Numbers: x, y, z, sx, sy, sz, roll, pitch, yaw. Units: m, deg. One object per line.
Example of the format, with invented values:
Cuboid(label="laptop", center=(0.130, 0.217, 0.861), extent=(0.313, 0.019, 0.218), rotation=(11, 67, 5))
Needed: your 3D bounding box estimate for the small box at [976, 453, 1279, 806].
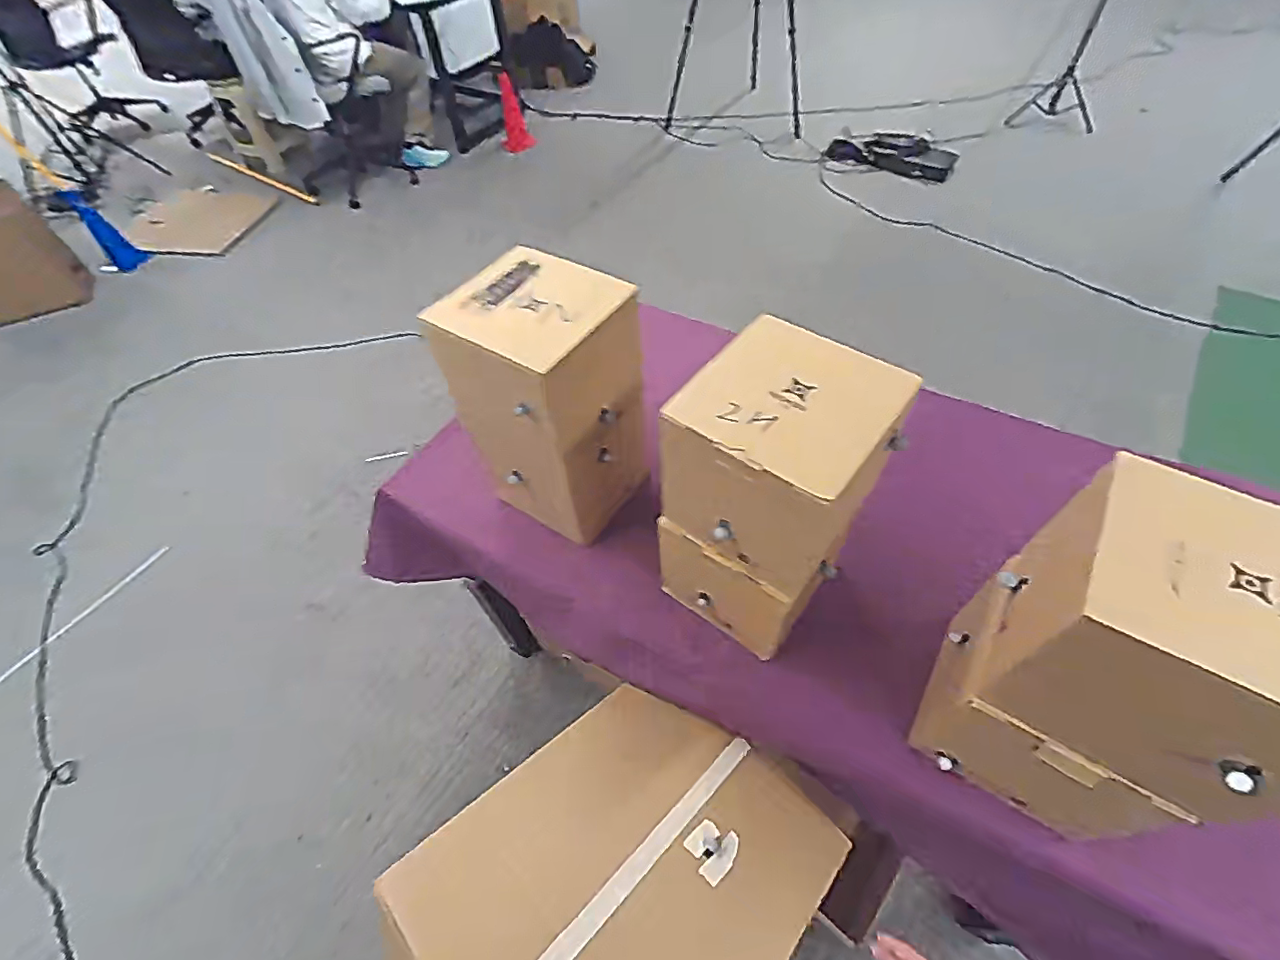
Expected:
Cuboid(label="small box", center=(0.402, 0.117, 0.412), extent=(0.179, 0.176, 0.168), rotation=(28, 59, 23))

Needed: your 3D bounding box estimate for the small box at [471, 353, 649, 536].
Cuboid(label="small box", center=(-0.103, -0.047, 0.777), extent=(0.179, 0.176, 0.168), rotation=(27, 61, 23))

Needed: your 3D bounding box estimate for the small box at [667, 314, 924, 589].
Cuboid(label="small box", center=(0.142, -0.027, 0.540), extent=(0.168, 0.176, 0.179), rotation=(32, 63, 25))

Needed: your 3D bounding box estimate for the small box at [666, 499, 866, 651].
Cuboid(label="small box", center=(0.146, 0.075, 0.670), extent=(0.168, 0.176, 0.179), rotation=(31, 63, 25))

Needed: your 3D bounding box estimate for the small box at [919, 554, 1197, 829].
Cuboid(label="small box", center=(0.407, 0.215, 0.543), extent=(0.168, 0.176, 0.179), rotation=(27, 59, 22))
